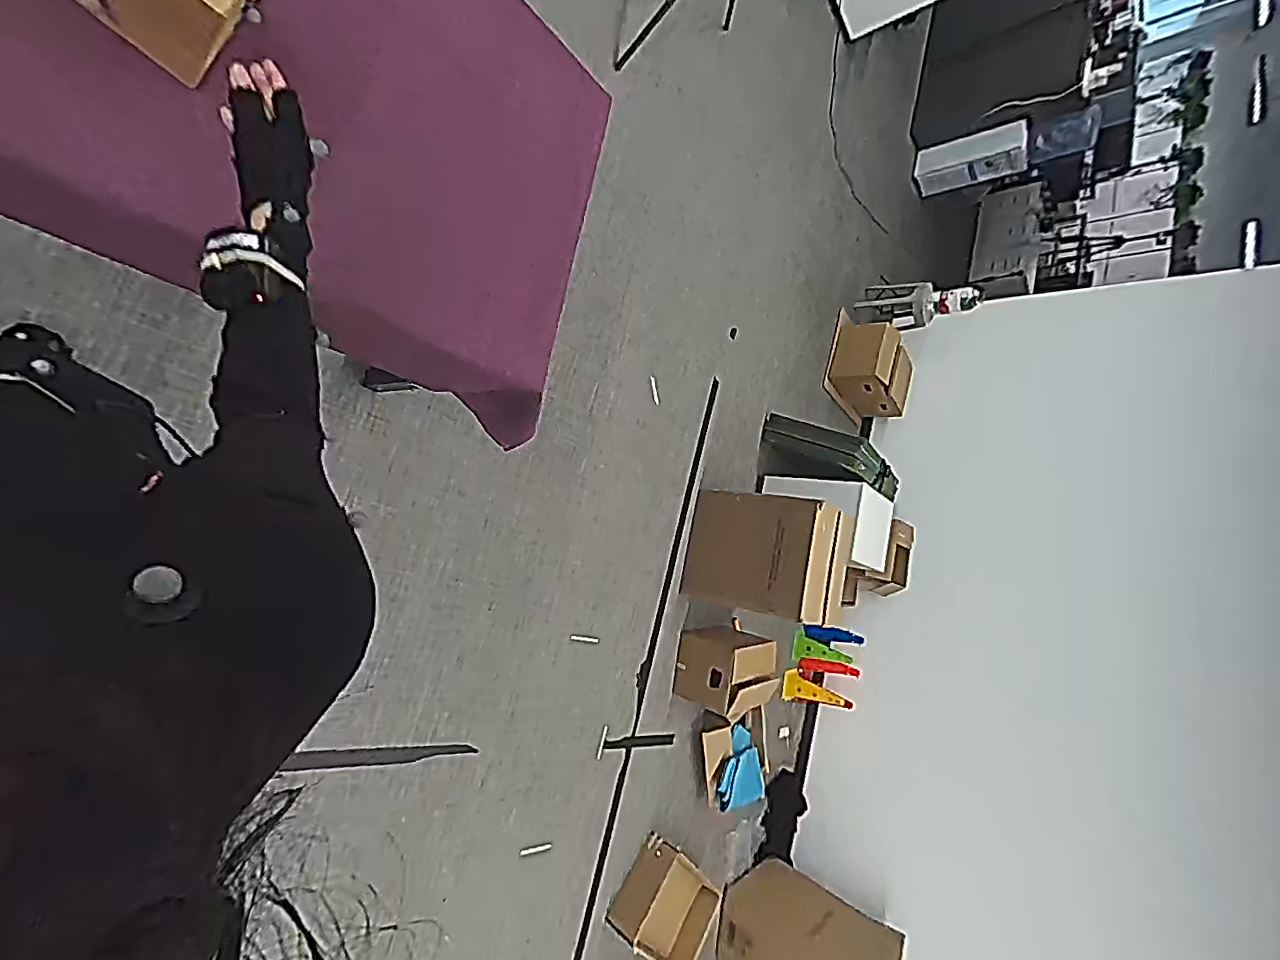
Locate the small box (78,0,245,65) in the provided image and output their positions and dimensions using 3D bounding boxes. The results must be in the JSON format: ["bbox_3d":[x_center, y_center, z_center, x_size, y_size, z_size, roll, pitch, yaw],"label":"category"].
[{"bbox_3d":[-0.481,-0.550,0.521,0.179,0.176,0.168,34,69,-46],"label":"small box"}]
